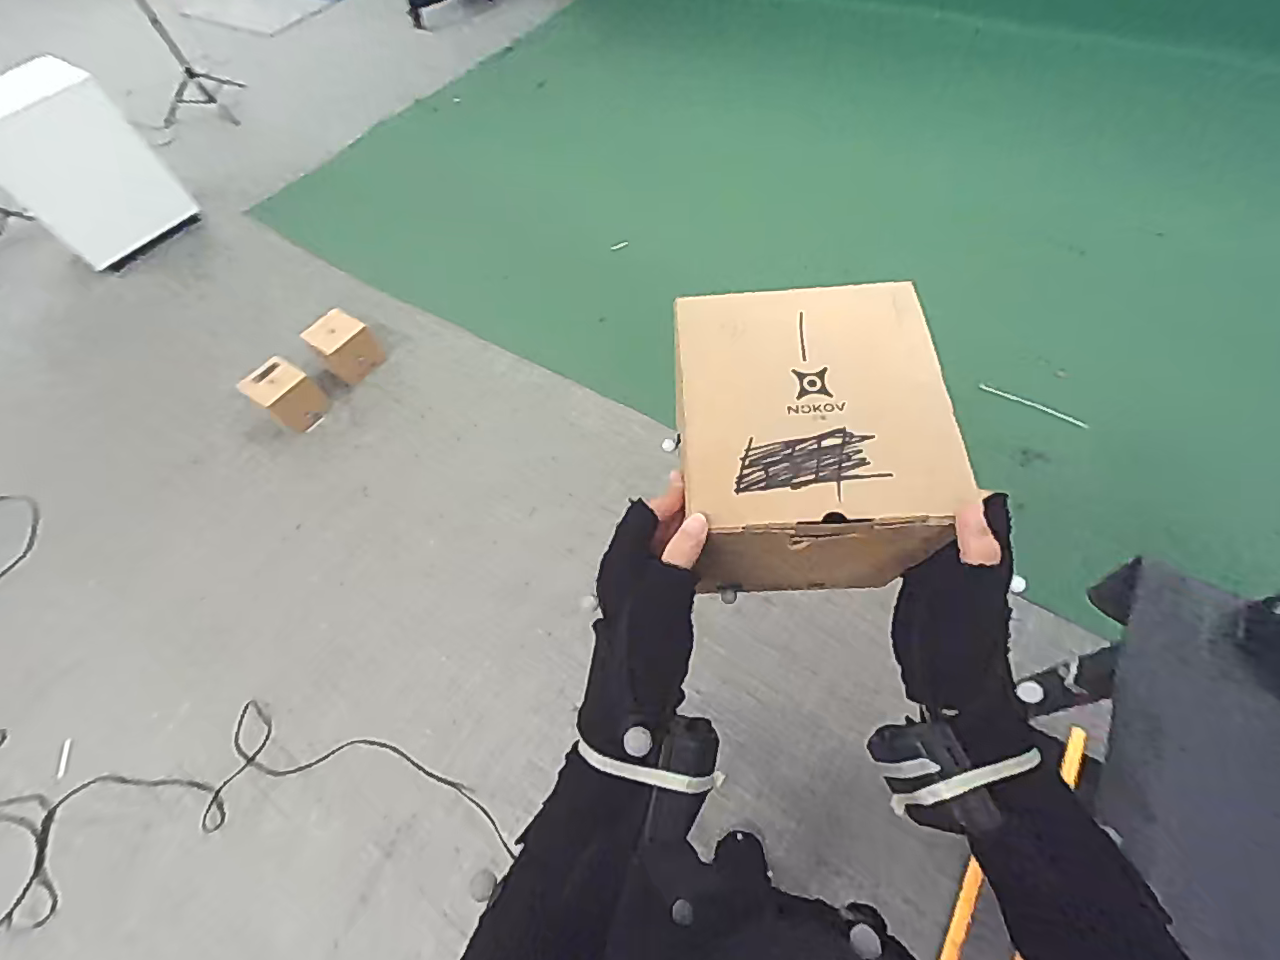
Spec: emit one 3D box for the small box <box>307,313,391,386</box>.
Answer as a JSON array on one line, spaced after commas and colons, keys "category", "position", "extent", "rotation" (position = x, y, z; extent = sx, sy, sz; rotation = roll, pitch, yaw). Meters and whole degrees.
[{"category": "small box", "position": [-1.056, -0.472, 1.978], "extent": [0.179, 0.176, 0.168], "rotation": [29, 65, 21]}]
